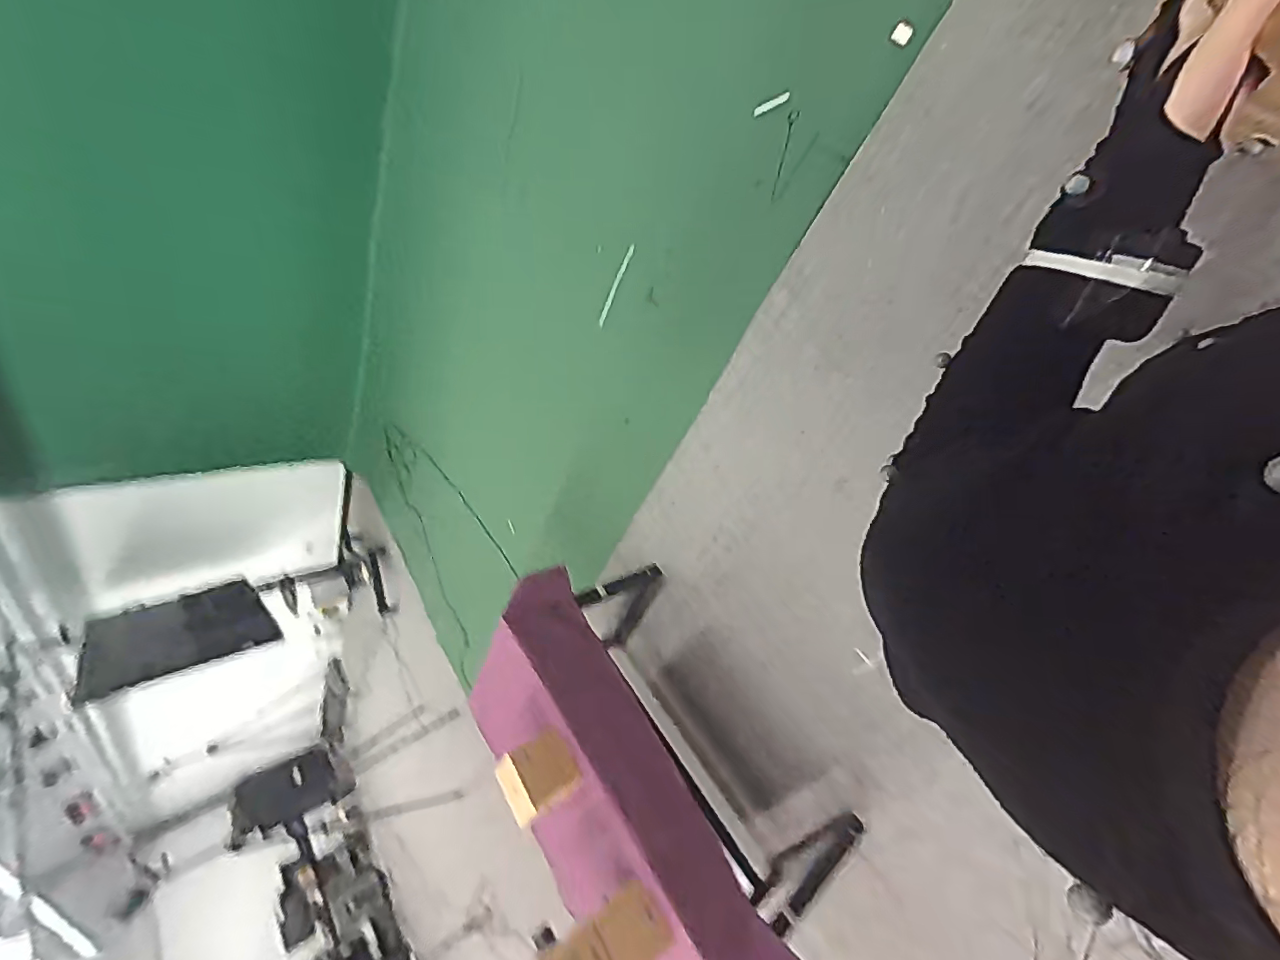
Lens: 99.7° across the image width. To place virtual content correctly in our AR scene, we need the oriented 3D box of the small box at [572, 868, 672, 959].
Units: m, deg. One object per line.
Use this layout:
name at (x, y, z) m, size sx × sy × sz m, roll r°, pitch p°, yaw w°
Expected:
small box at (-0.048, 1.172, 1.436) m, size 0.179 × 0.176 × 0.168 m, roll 52°, pitch 133°, yaw 27°

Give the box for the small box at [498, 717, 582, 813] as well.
small box at (-0.303, 0.862, 1.645) m, size 0.179 × 0.176 × 0.168 m, roll 53°, pitch 133°, yaw 26°

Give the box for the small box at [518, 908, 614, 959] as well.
small box at (-0.172, 1.201, 1.332) m, size 0.168 × 0.176 × 0.179 m, roll 53°, pitch 134°, yaw 26°
